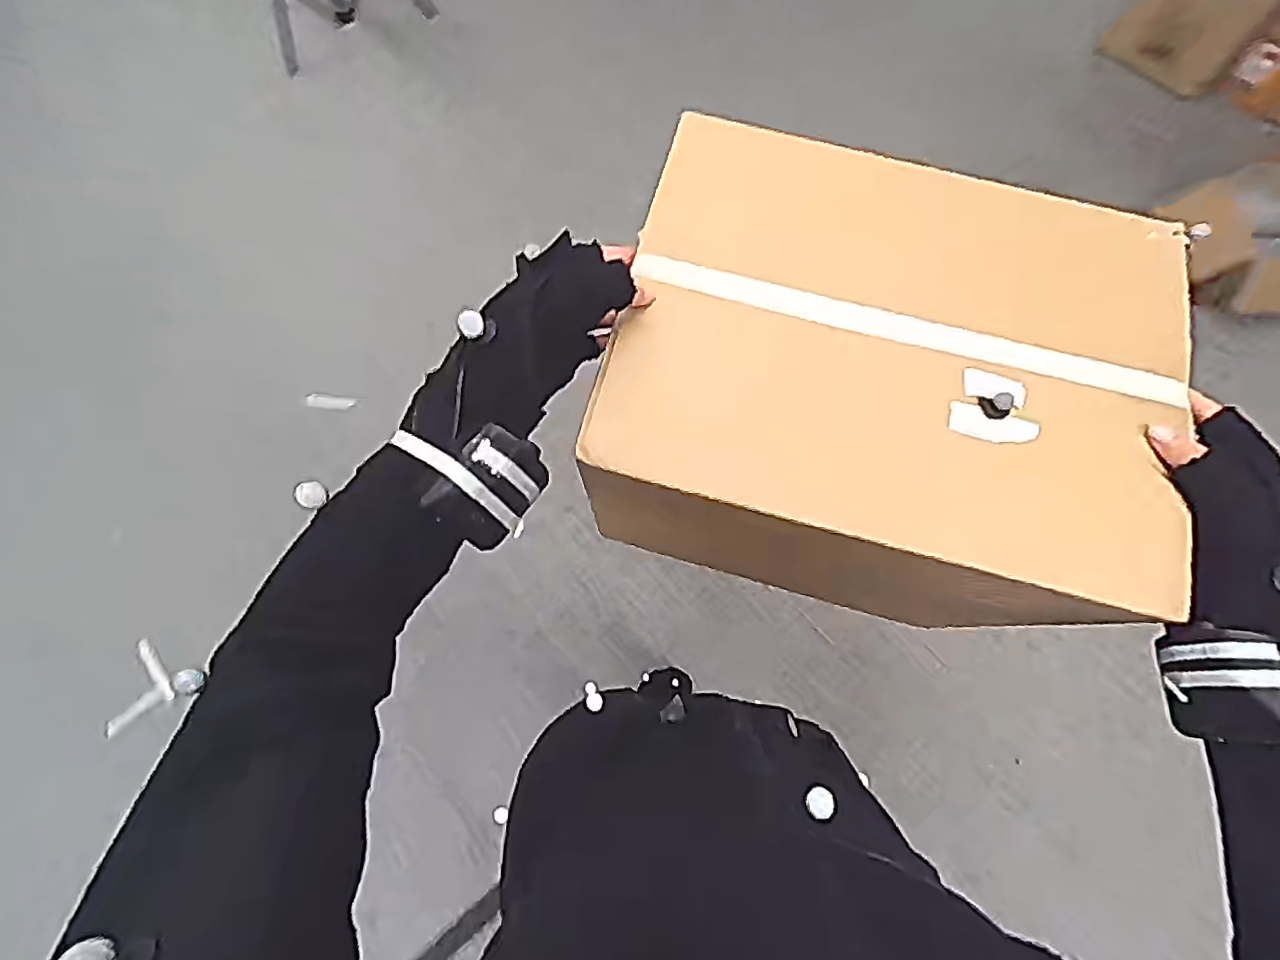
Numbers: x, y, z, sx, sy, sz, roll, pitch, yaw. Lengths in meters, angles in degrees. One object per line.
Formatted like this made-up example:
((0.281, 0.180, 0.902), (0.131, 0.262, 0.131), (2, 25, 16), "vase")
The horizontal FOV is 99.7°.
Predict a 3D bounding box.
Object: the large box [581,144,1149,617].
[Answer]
((0.178, -0.061, 0.555), (0.408, 0.320, 0.320), (14, 75, 2), "large box")
